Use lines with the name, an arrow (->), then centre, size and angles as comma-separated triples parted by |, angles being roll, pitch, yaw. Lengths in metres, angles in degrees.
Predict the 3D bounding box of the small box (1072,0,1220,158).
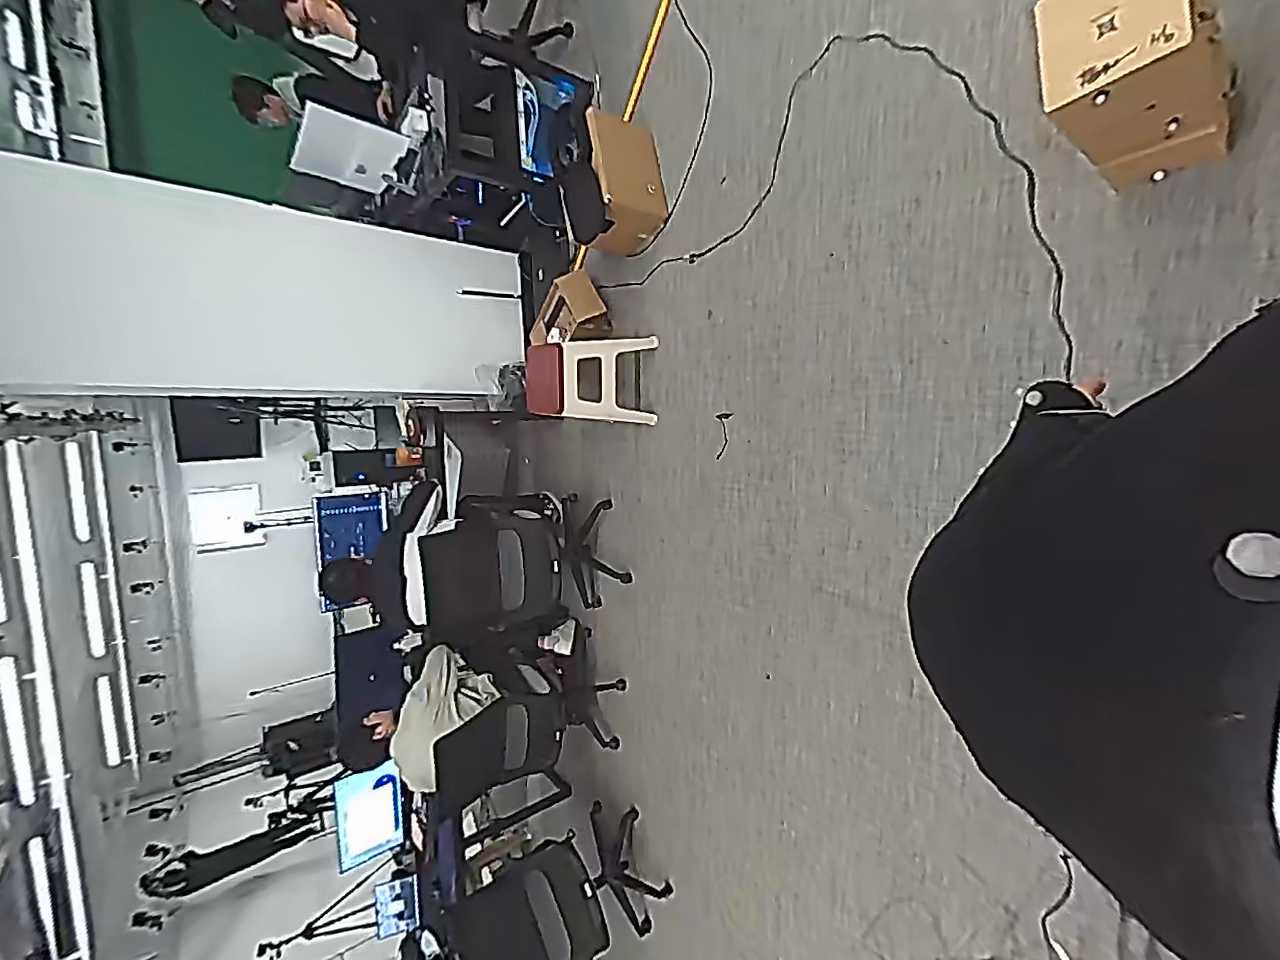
small box -> 0.864, -0.685, 0.927 | 0.168, 0.176, 0.179 | -2, 92, 52

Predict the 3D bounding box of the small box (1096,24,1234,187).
small box -> 0.993, -0.691, 1.025 | 0.168, 0.176, 0.179 | 4, 98, 52

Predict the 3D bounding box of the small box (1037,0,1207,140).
small box -> 0.735, -0.668, 0.826 | 0.168, 0.176, 0.179 | -5, 90, 52
